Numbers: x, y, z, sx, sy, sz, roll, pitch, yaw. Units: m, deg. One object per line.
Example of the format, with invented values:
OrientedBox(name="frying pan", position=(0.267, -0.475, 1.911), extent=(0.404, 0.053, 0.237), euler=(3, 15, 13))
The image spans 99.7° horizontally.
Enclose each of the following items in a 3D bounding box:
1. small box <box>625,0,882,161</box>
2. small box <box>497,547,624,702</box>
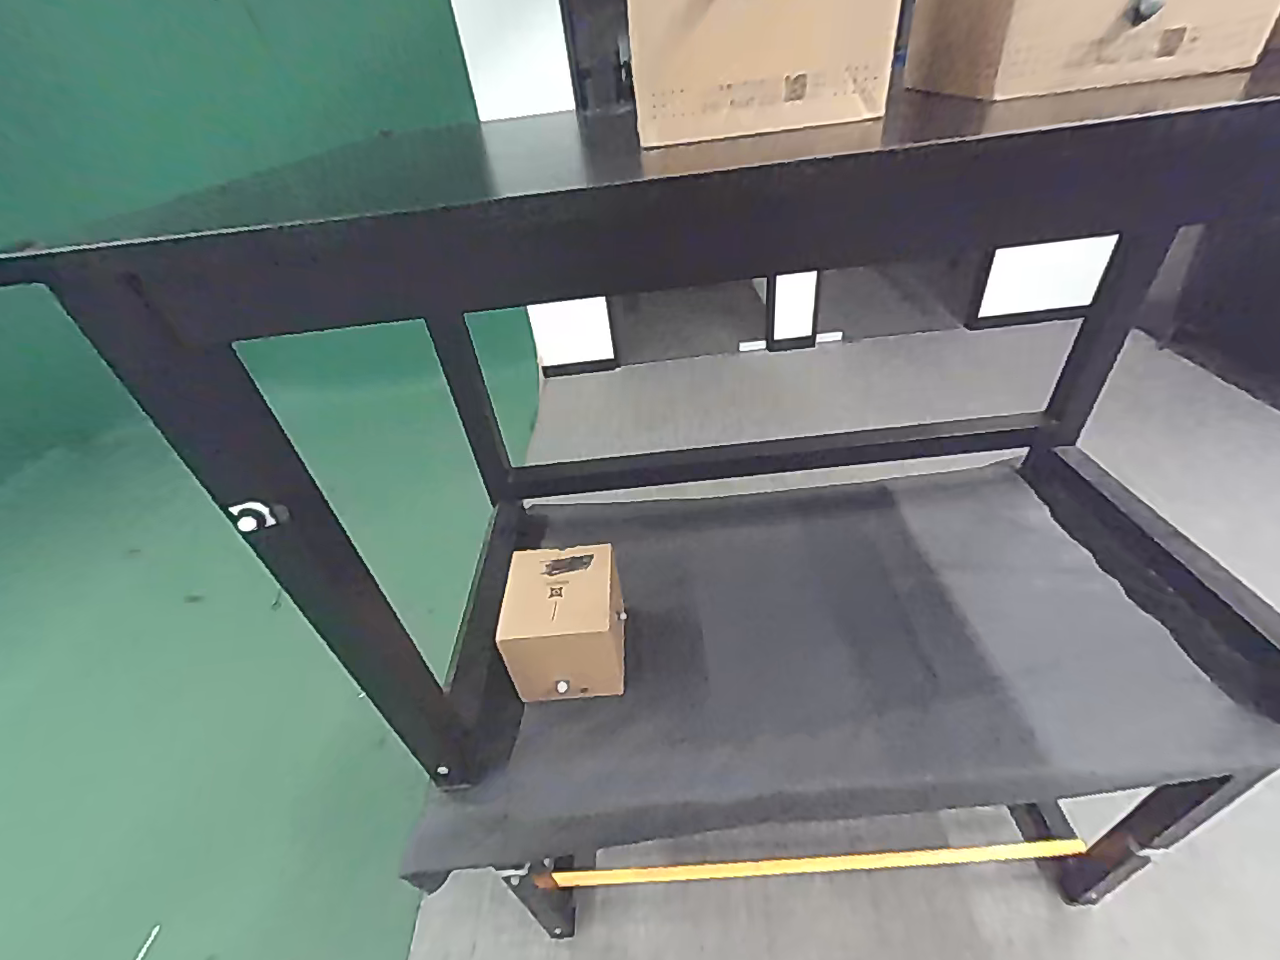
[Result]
OrientedBox(name="small box", position=(0.073, -0.347, 0.401), extent=(0.168, 0.176, 0.179), euler=(-5, 37, 3))
OrientedBox(name="small box", position=(-0.118, 0.233, 0.880), extent=(0.168, 0.176, 0.179), euler=(-6, 38, 2))
